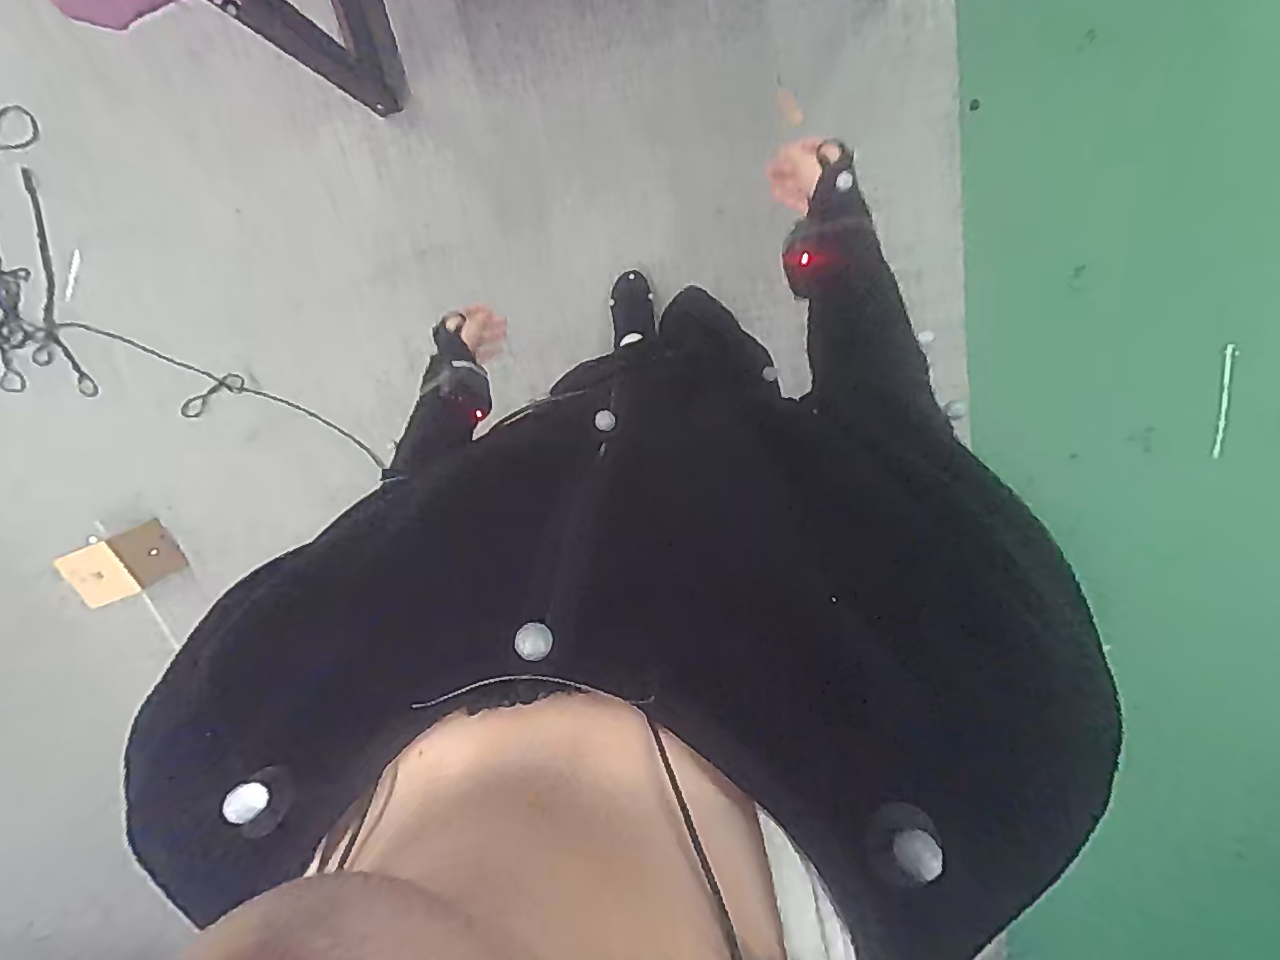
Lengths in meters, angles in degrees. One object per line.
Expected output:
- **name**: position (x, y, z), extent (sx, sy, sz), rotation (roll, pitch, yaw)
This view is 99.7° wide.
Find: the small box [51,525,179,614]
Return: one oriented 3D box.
- **small box**: position (-1.477, 0.249, 1.542), extent (0.179, 0.176, 0.168), rotation (-19, 107, 7)
